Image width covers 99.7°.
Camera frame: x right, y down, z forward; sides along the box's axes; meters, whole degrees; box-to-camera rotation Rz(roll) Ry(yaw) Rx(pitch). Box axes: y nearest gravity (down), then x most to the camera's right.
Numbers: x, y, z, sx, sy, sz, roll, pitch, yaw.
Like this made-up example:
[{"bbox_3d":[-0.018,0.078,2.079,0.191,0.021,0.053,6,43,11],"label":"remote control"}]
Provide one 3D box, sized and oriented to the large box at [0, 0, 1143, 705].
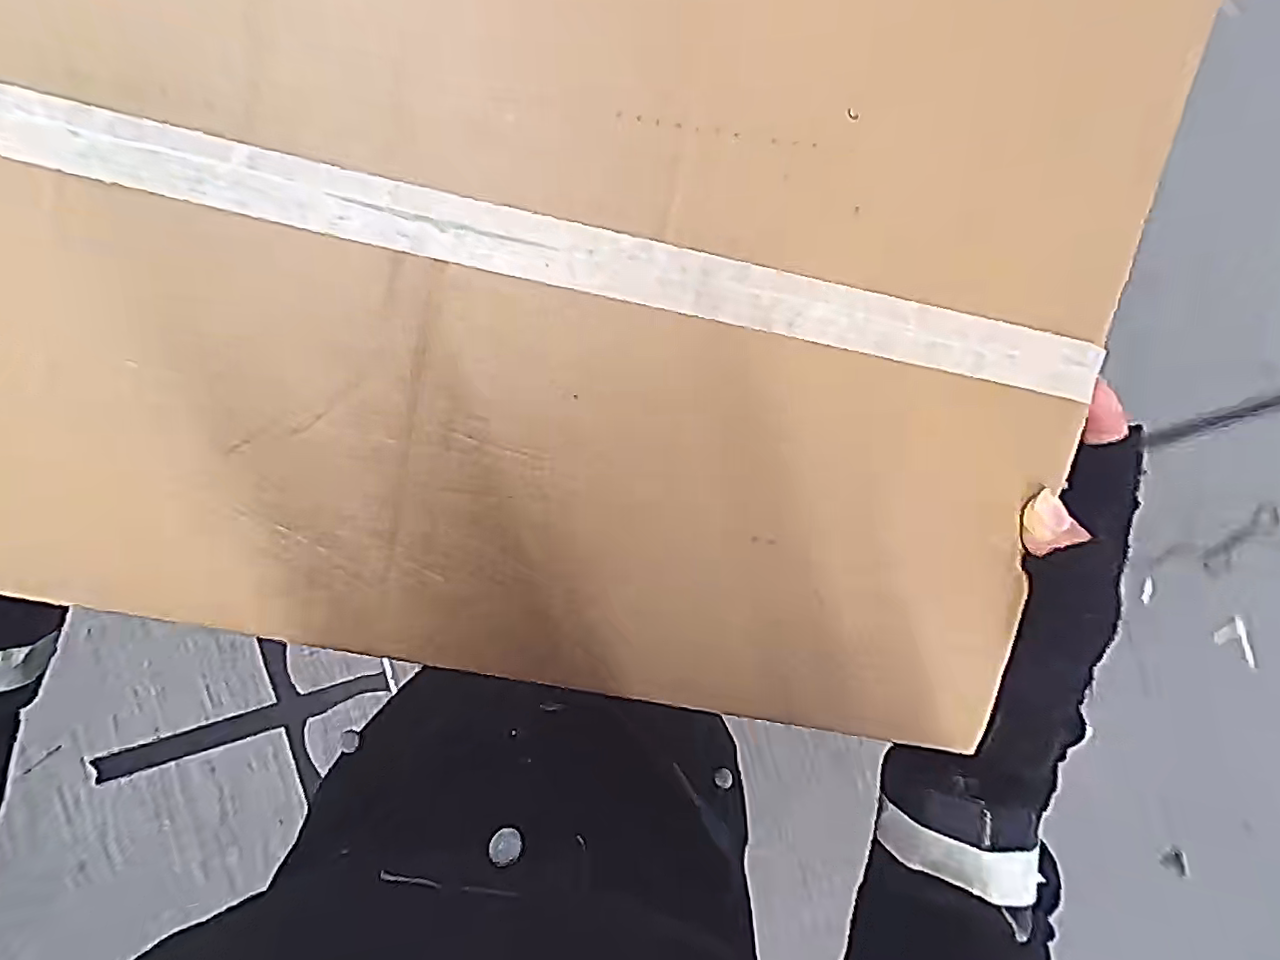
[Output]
[{"bbox_3d":[-0.045,-0.104,0.343,0.408,0.320,0.320,10,98,-5],"label":"large box"}]
